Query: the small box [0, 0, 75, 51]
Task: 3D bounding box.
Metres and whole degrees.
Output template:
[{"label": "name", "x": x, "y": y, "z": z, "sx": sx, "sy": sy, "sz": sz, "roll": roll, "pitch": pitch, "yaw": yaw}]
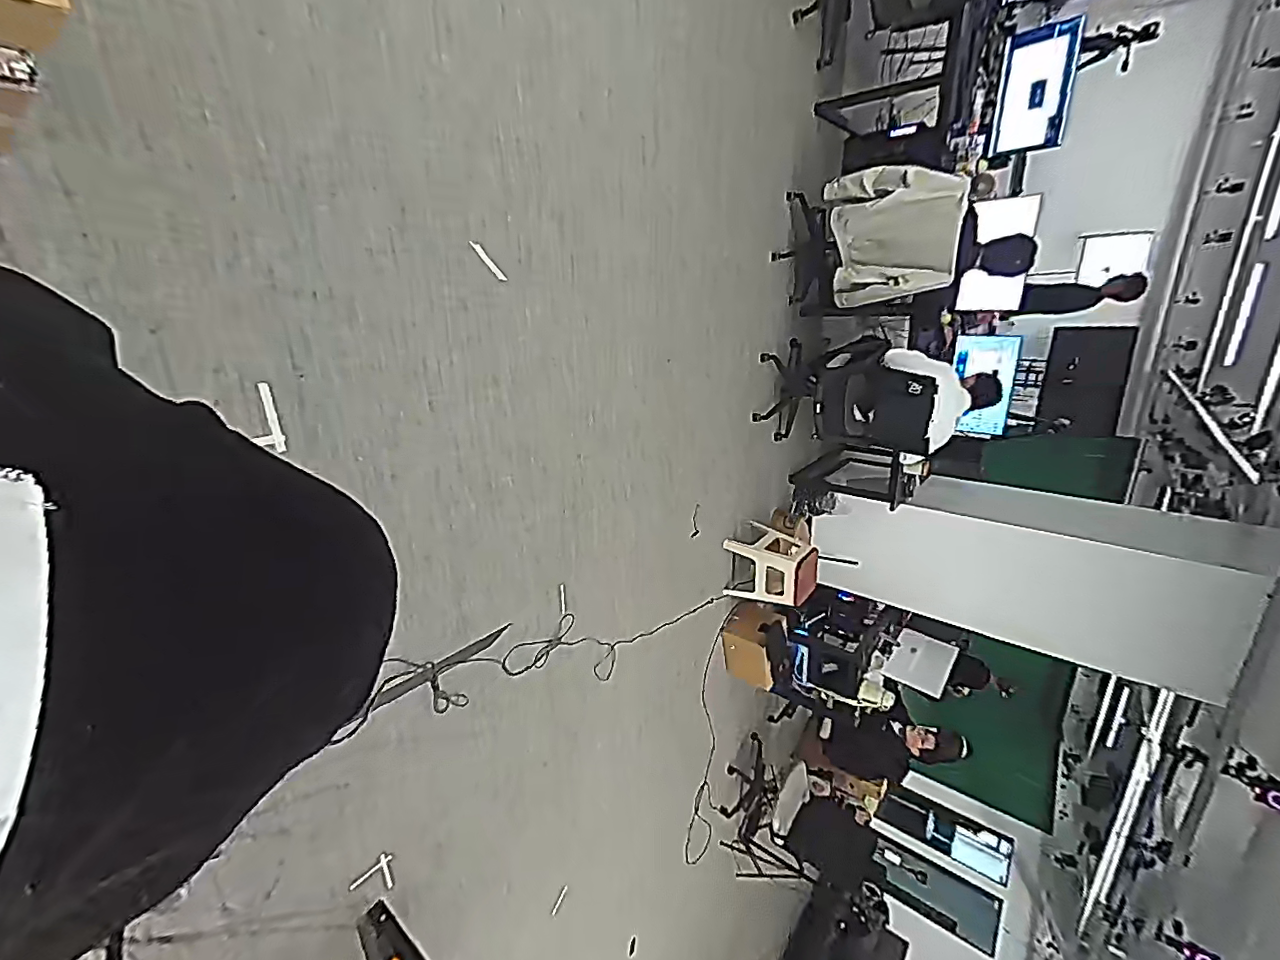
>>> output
[{"label": "small box", "x": -0.706, "y": -0.564, "z": 0.526, "sx": 0.168, "sy": 0.176, "sz": 0.179, "roll": -23, "pitch": 120, "yaw": -49}]
